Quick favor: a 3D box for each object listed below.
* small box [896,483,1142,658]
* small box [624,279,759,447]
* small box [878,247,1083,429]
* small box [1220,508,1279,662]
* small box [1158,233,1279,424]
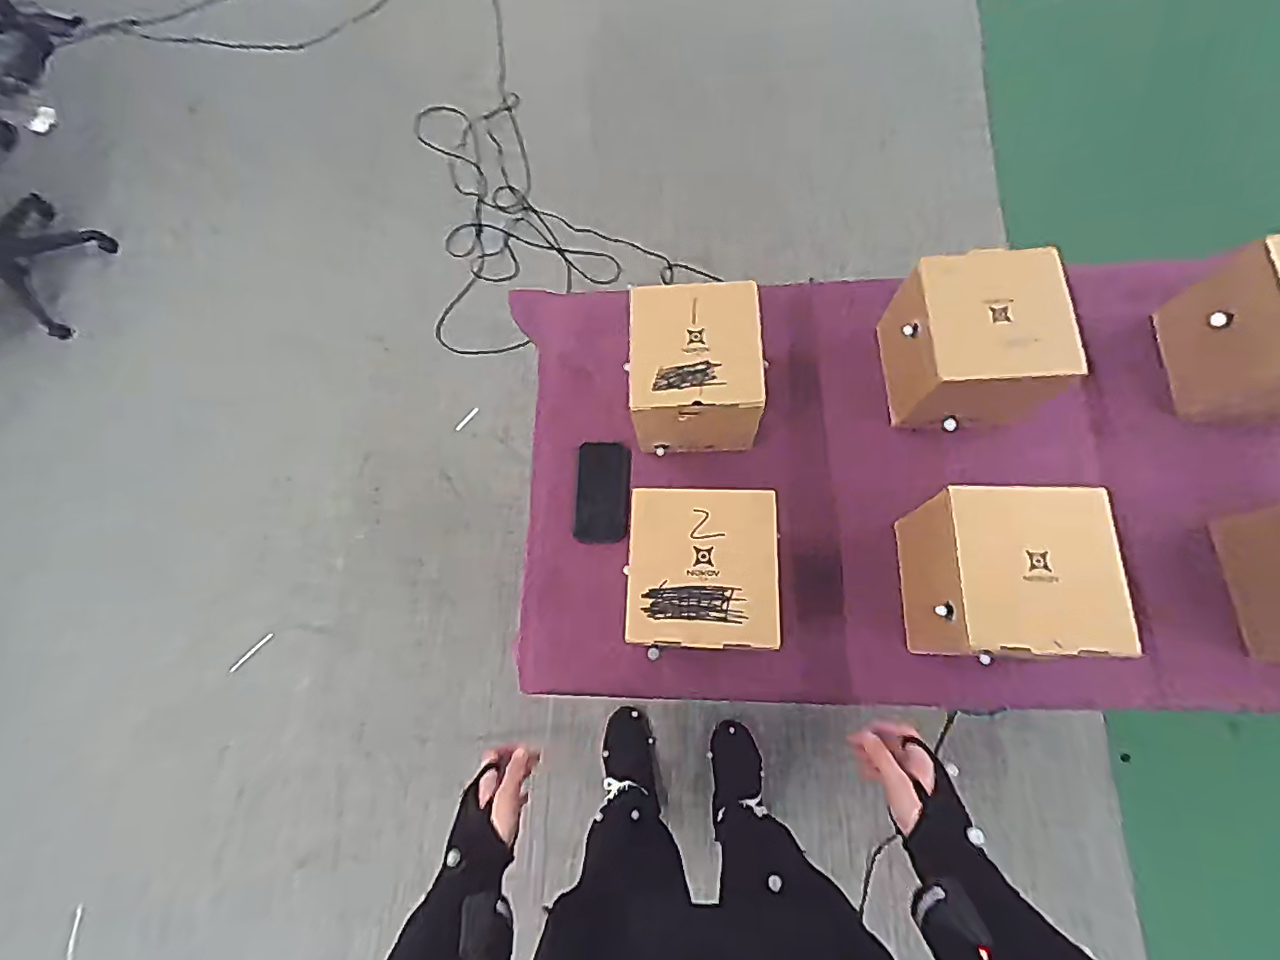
[{"bbox_3d":[0.418,0.113,0.635,0.168,0.176,0.179,1,72,6],"label":"small box"},{"bbox_3d":[0.070,-0.149,0.747,0.168,0.176,0.179,-1,73,5],"label":"small box"},{"bbox_3d":[0.433,-0.181,0.724,0.168,0.176,0.179,-2,74,6],"label":"small box"},{"bbox_3d":[0.813,0.110,0.593,0.168,0.176,0.179,-2,73,6],"label":"small box"},{"bbox_3d":[0.820,-0.185,0.686,0.168,0.176,0.179,0,73,6],"label":"small box"}]
